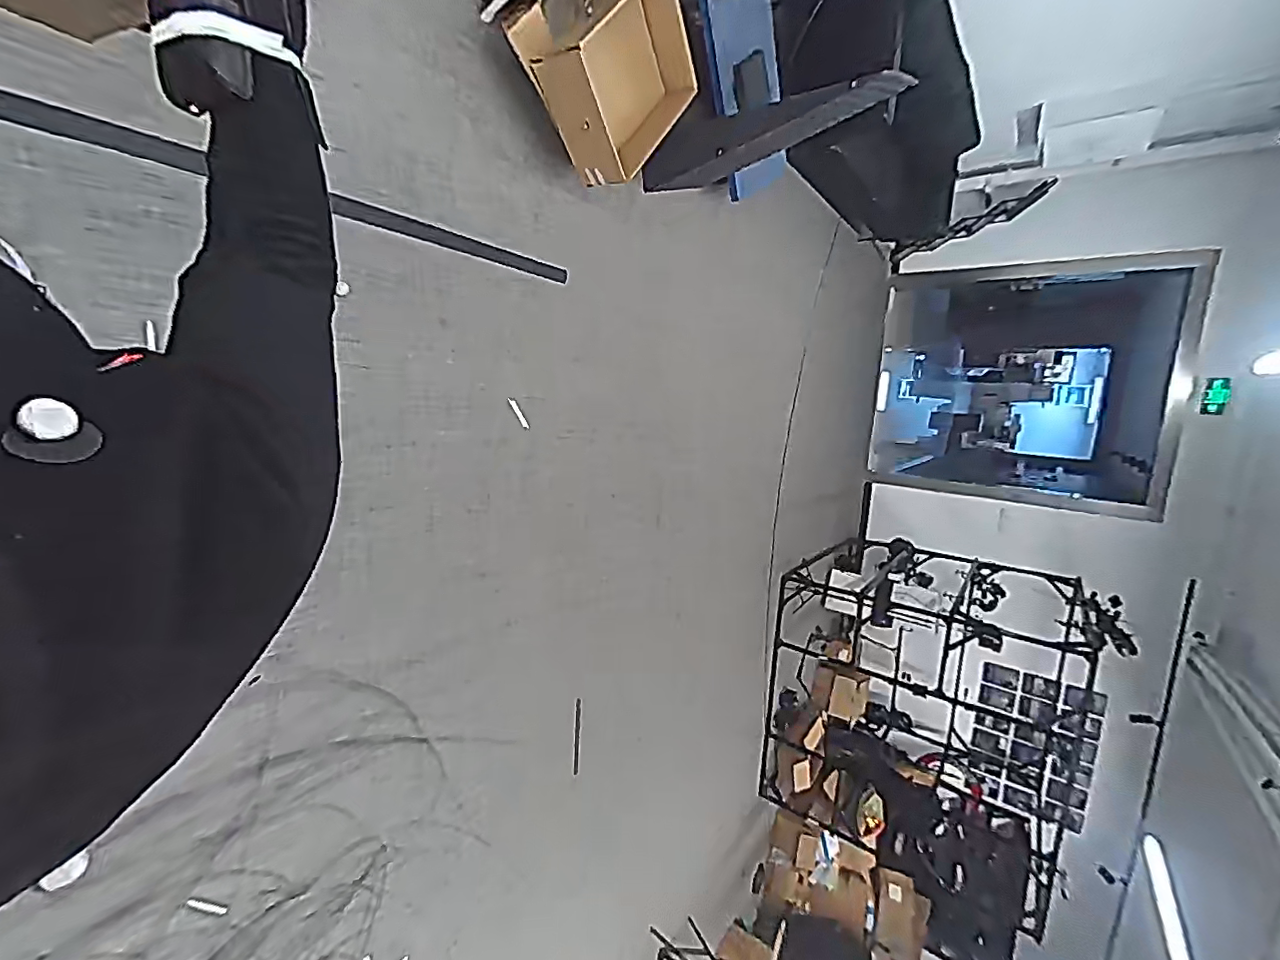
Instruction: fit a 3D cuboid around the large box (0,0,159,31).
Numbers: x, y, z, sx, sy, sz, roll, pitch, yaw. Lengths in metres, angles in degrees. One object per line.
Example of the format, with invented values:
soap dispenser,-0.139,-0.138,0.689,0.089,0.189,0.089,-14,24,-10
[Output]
large box,-0.512,-0.512,0.256,0.408,0.320,0.320,-7,117,-54
